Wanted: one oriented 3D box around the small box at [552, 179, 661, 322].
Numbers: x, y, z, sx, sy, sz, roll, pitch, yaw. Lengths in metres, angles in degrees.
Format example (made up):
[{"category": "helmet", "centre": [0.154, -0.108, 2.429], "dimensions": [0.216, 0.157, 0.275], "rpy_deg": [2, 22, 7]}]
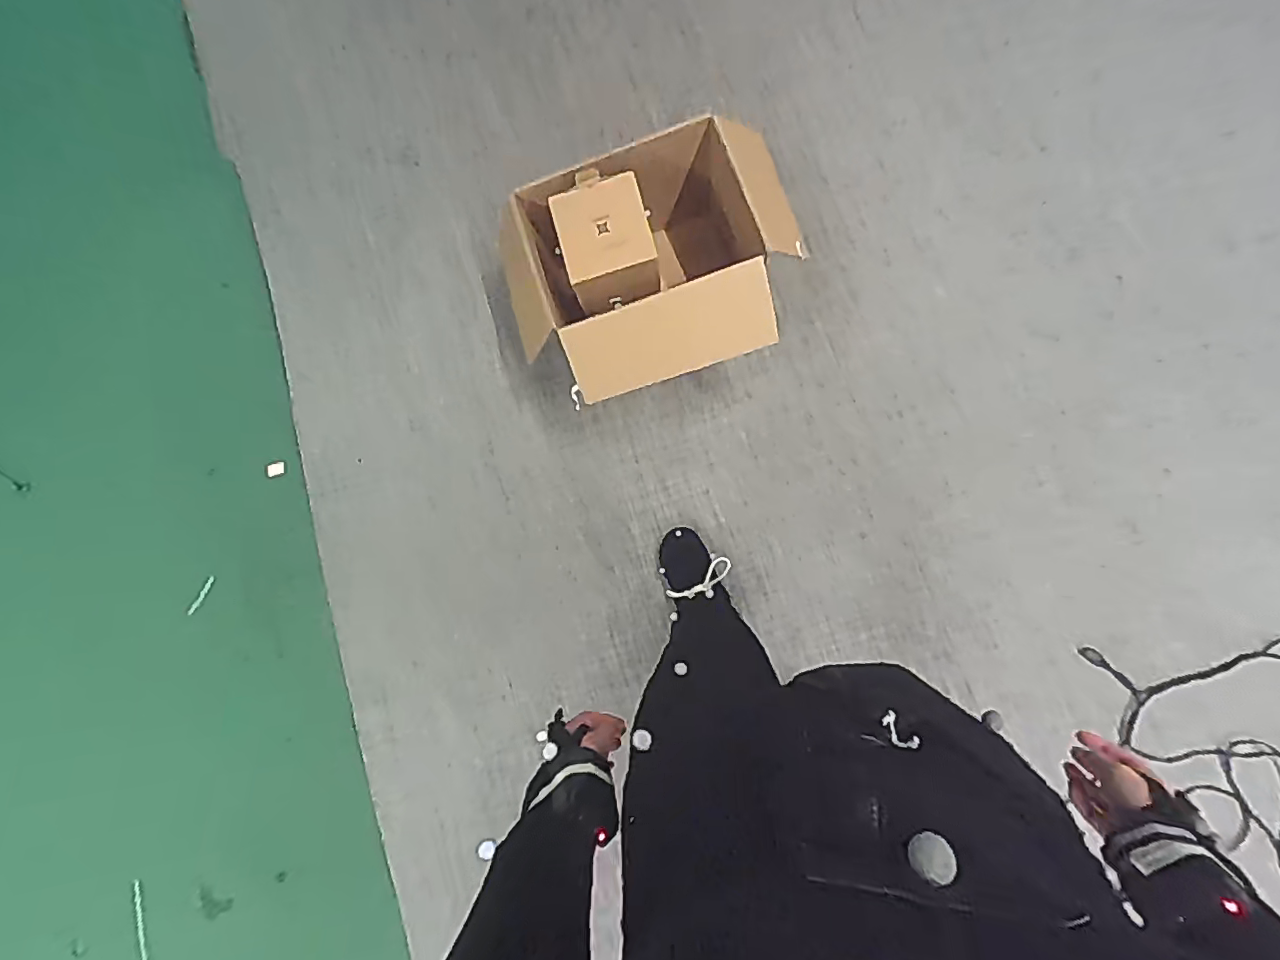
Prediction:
[{"category": "small box", "centre": [-0.058, -0.438, 1.055], "dimensions": [0.168, 0.176, 0.179], "rpy_deg": [-15, 84, 3]}]
